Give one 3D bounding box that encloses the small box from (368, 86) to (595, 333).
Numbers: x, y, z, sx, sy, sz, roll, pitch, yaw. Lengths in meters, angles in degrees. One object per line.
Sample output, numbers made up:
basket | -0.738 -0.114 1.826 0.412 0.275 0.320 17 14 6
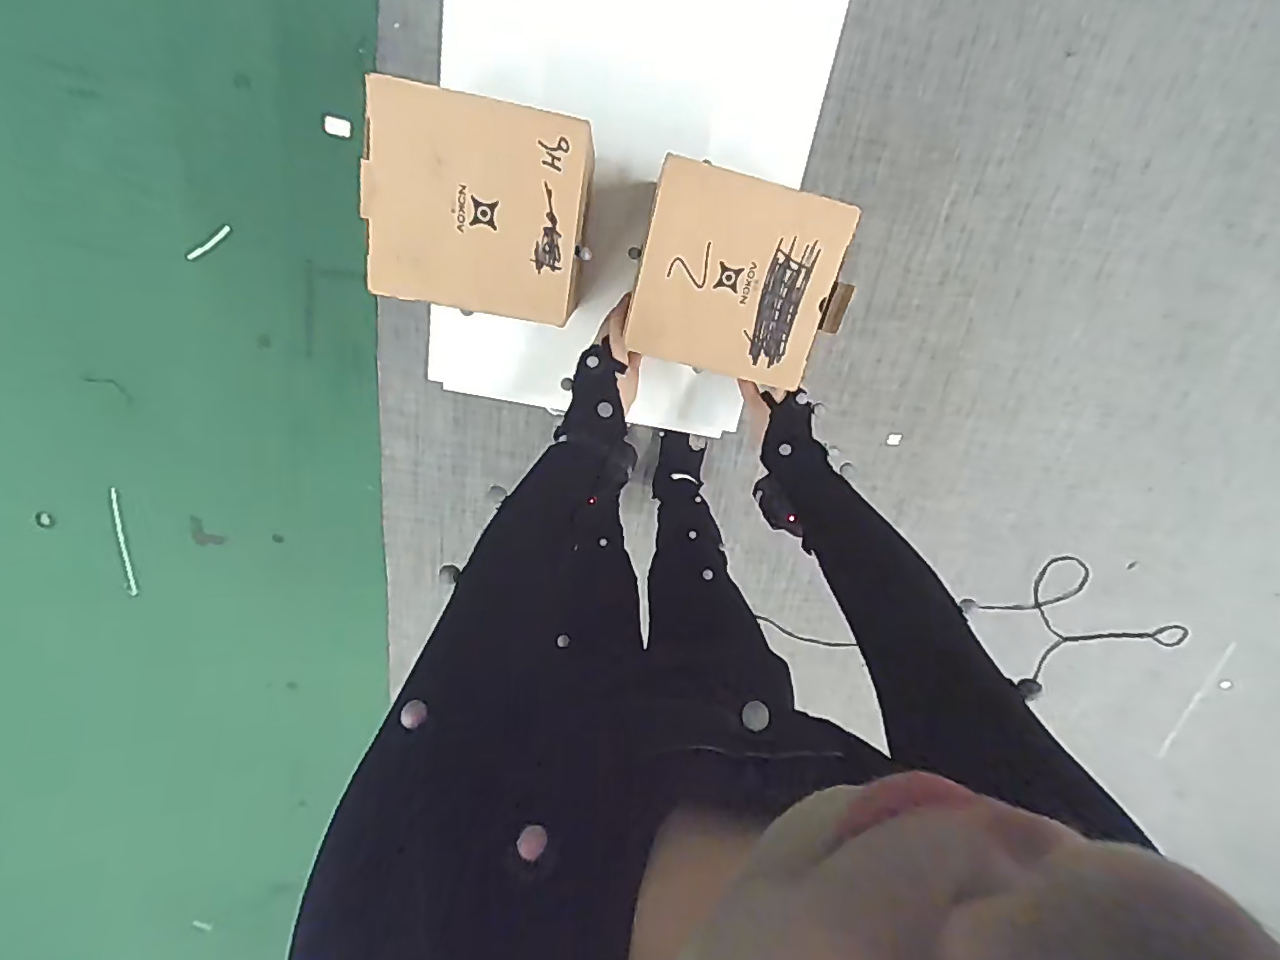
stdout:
small box | -0.144 -0.250 0.533 0.179 0.176 0.168 9 111 -6
